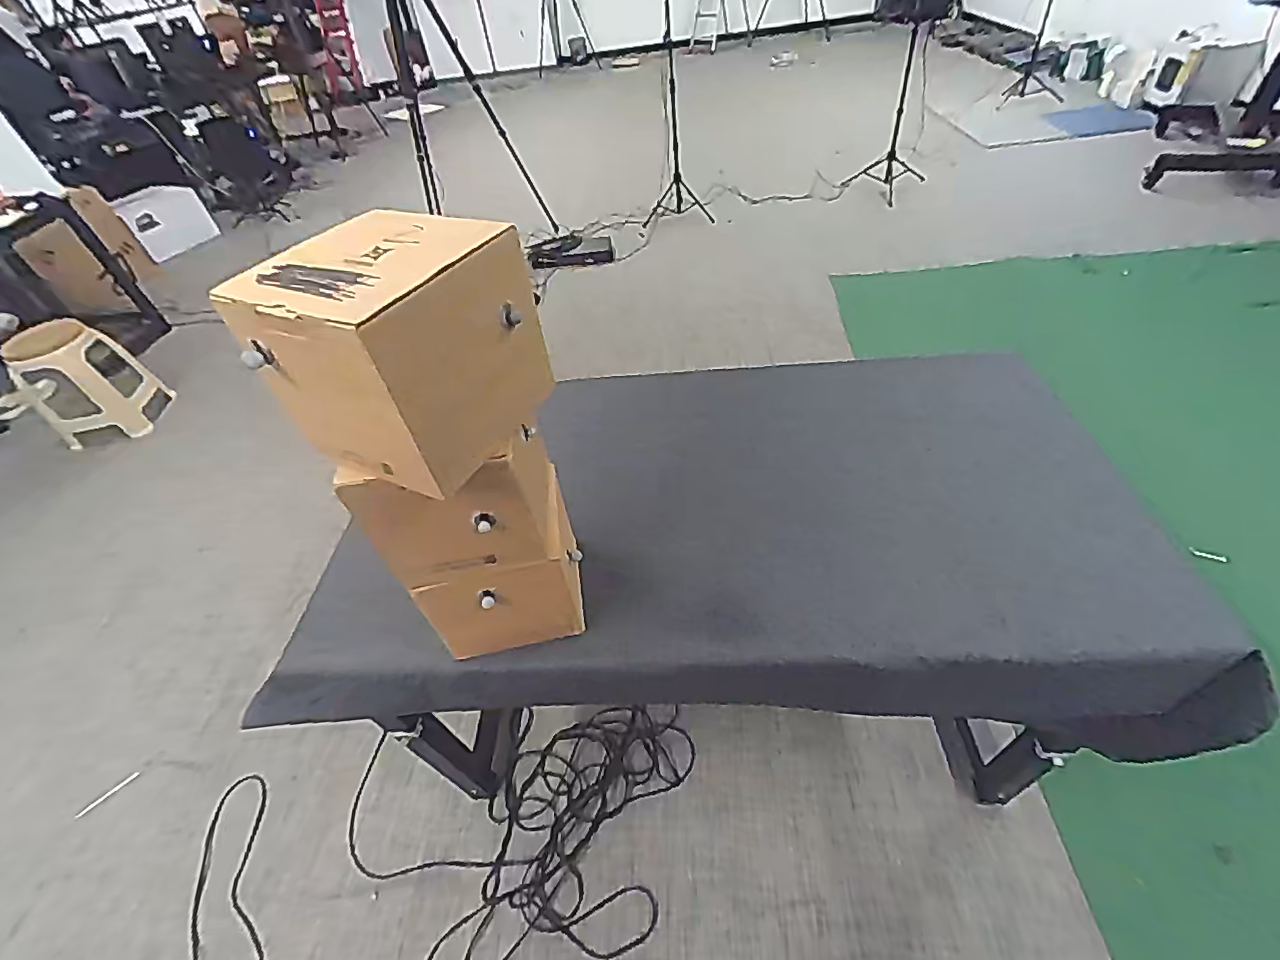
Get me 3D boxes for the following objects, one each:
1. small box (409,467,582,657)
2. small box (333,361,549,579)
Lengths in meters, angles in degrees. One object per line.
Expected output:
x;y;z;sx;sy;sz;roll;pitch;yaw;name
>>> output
-0.176;0.111;0.716;0.179;0.176;0.168;-11;45;-2;small box
-0.200;-0.006;0.605;0.168;0.176;0.179;-9;43;-1;small box
